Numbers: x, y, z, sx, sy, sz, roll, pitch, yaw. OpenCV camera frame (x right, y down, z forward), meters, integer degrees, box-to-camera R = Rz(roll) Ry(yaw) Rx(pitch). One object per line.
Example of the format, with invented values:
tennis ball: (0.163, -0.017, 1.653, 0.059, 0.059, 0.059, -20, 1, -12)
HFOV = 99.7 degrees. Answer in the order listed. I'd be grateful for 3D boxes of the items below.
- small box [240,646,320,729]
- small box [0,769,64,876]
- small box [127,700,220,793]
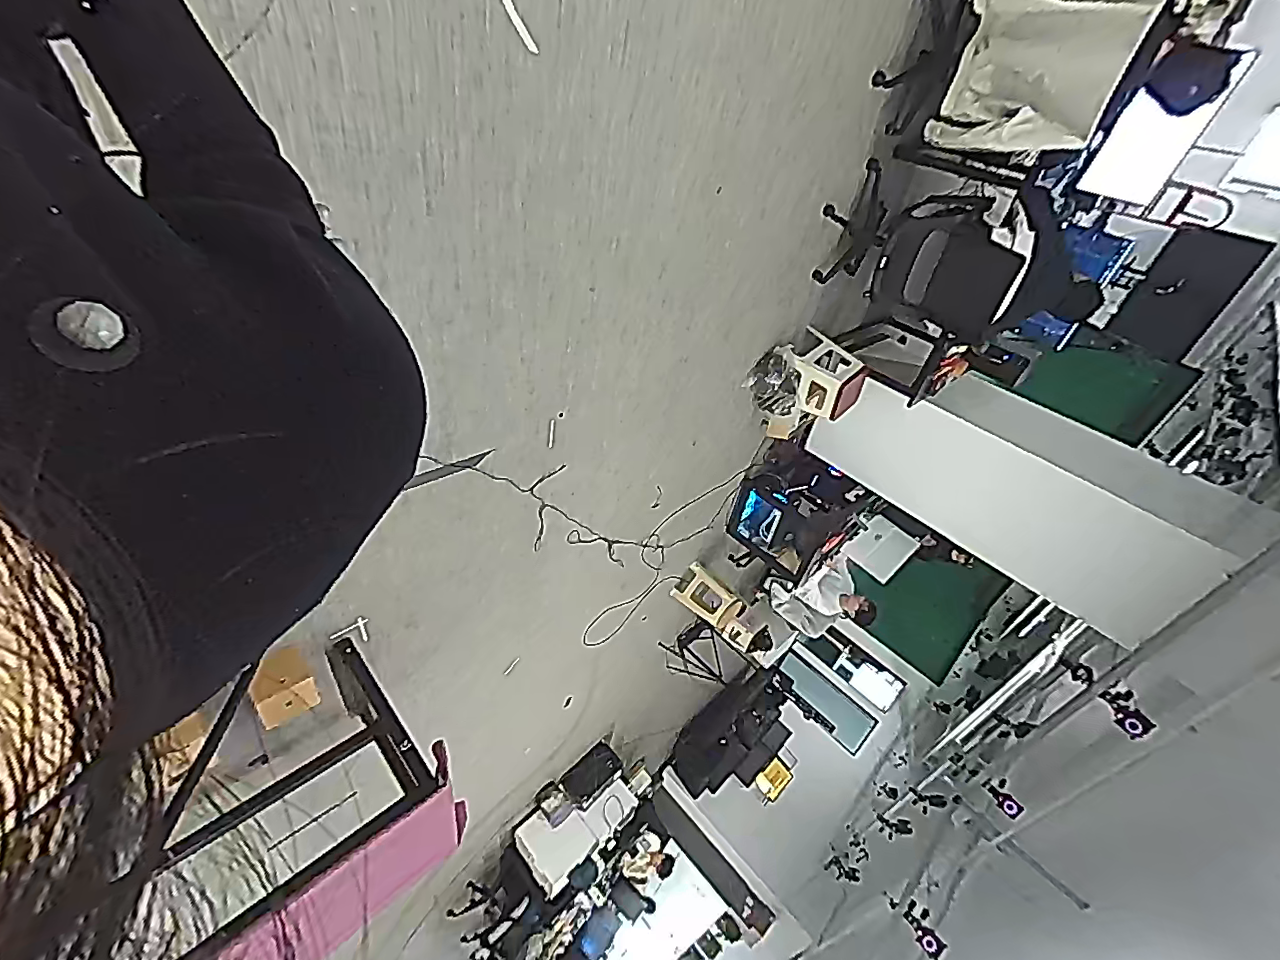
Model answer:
small box: (-1.255, 0.717, 1.888, 0.179, 0.176, 0.168, -24, 139, -38)
small box: (-1.724, 0.945, 1.481, 0.179, 0.176, 0.168, -11, 131, -51)
small box: (-1.473, 0.835, 1.710, 0.168, 0.176, 0.179, -27, 142, -37)
